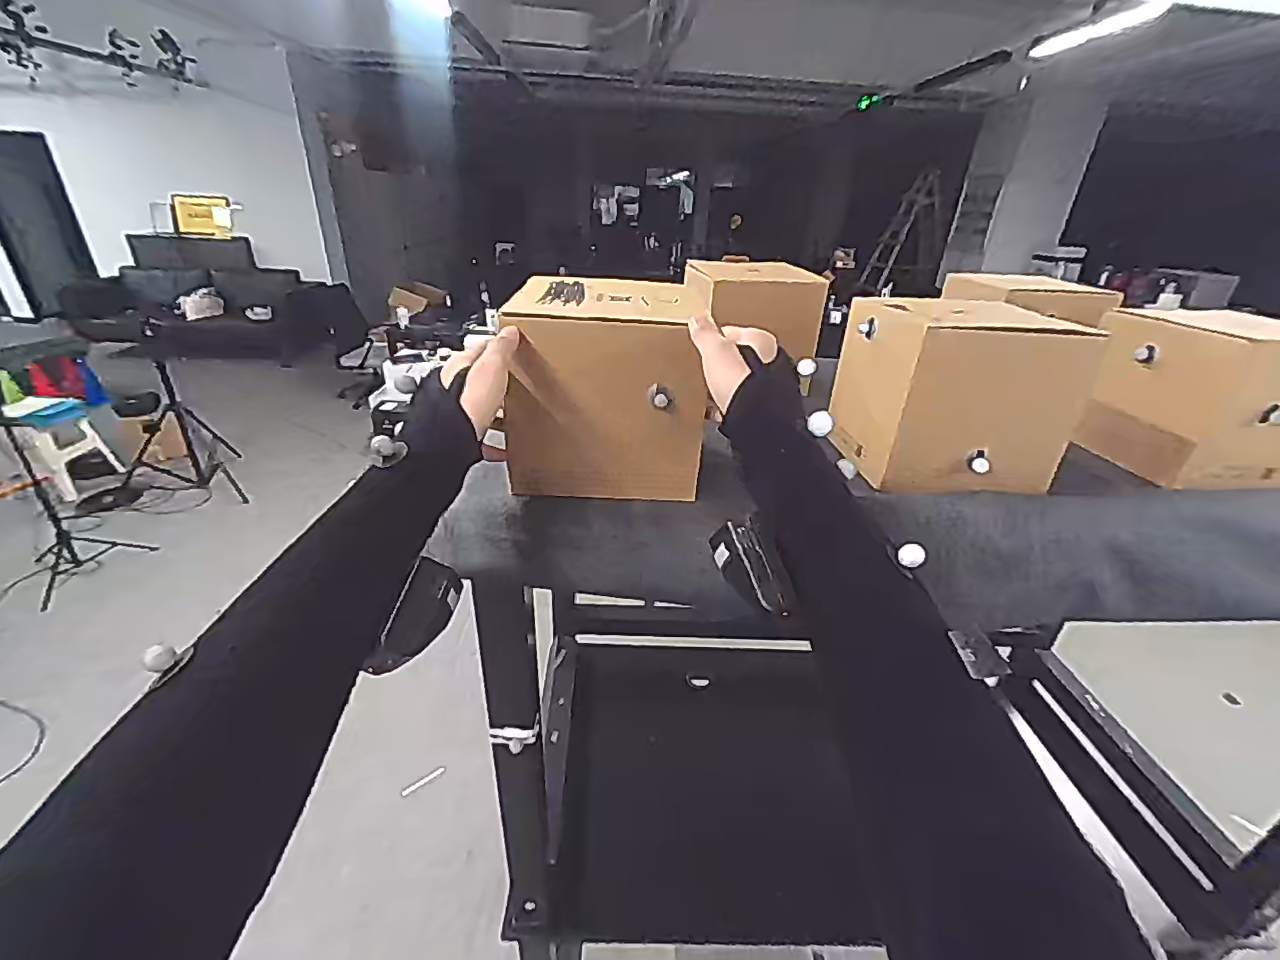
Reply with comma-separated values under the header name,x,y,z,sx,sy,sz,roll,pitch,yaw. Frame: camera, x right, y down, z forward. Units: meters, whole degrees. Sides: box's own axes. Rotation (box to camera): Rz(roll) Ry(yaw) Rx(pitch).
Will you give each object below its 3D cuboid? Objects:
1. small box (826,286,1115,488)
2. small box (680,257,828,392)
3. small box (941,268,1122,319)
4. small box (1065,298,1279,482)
name,x,y,z,sx,sy,sz,roll,pitch,yaw
small box,0.321,-0.101,0.570,0.179,0.176,0.168,2,26,-4
small box,0.160,-0.240,0.825,0.168,0.176,0.179,-3,28,-8
small box,0.591,-0.239,0.864,0.179,0.176,0.168,2,28,-2
small box,0.643,-0.106,0.613,0.168,0.176,0.179,0,26,-4
